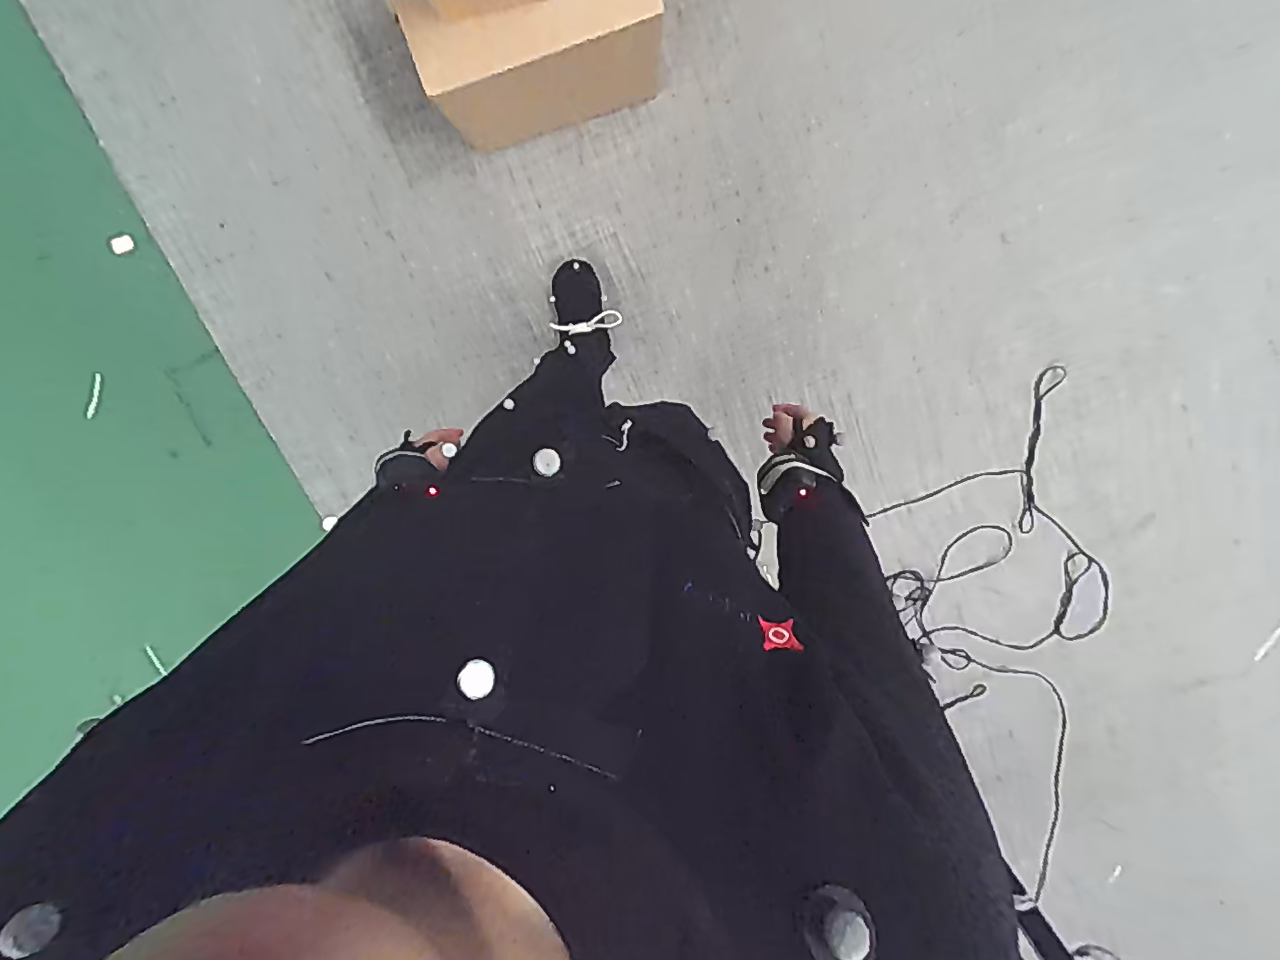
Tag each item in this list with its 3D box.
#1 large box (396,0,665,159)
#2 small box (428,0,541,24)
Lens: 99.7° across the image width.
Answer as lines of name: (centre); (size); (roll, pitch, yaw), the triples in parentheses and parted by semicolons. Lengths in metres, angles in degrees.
large box: (-0.197, -0.845, 0.965); (0.408, 0.320, 0.320); (-17, 106, 3)
small box: (-0.237, -0.769, 0.734); (0.179, 0.176, 0.168); (-11, 105, 2)
